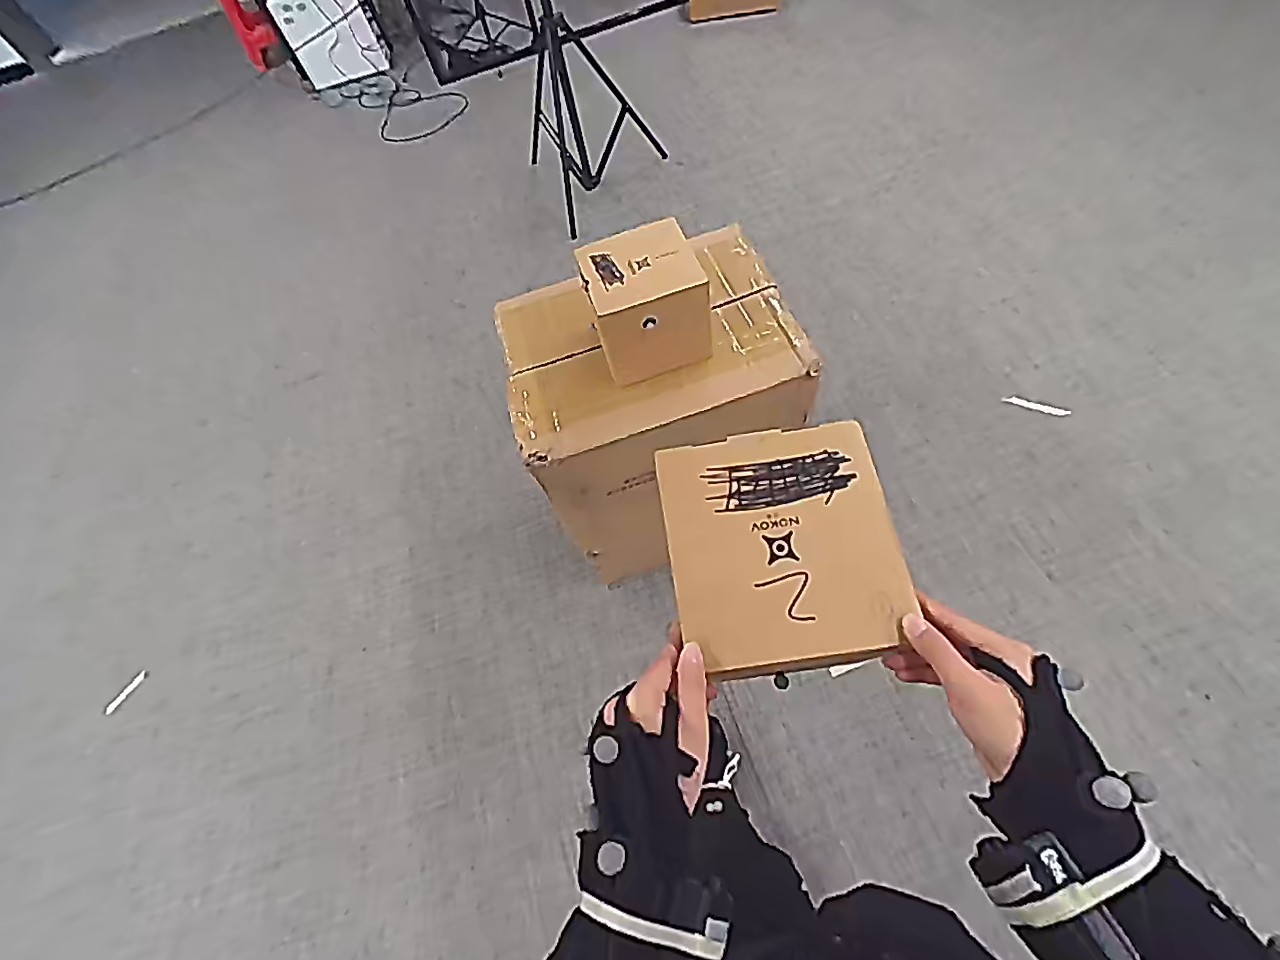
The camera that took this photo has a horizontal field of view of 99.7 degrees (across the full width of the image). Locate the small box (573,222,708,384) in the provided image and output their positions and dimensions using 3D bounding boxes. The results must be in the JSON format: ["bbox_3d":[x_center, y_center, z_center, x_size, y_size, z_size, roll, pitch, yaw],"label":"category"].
[{"bbox_3d":[0.006,-0.287,0.902,0.179,0.176,0.168,-18,60,-1],"label":"small box"}]
